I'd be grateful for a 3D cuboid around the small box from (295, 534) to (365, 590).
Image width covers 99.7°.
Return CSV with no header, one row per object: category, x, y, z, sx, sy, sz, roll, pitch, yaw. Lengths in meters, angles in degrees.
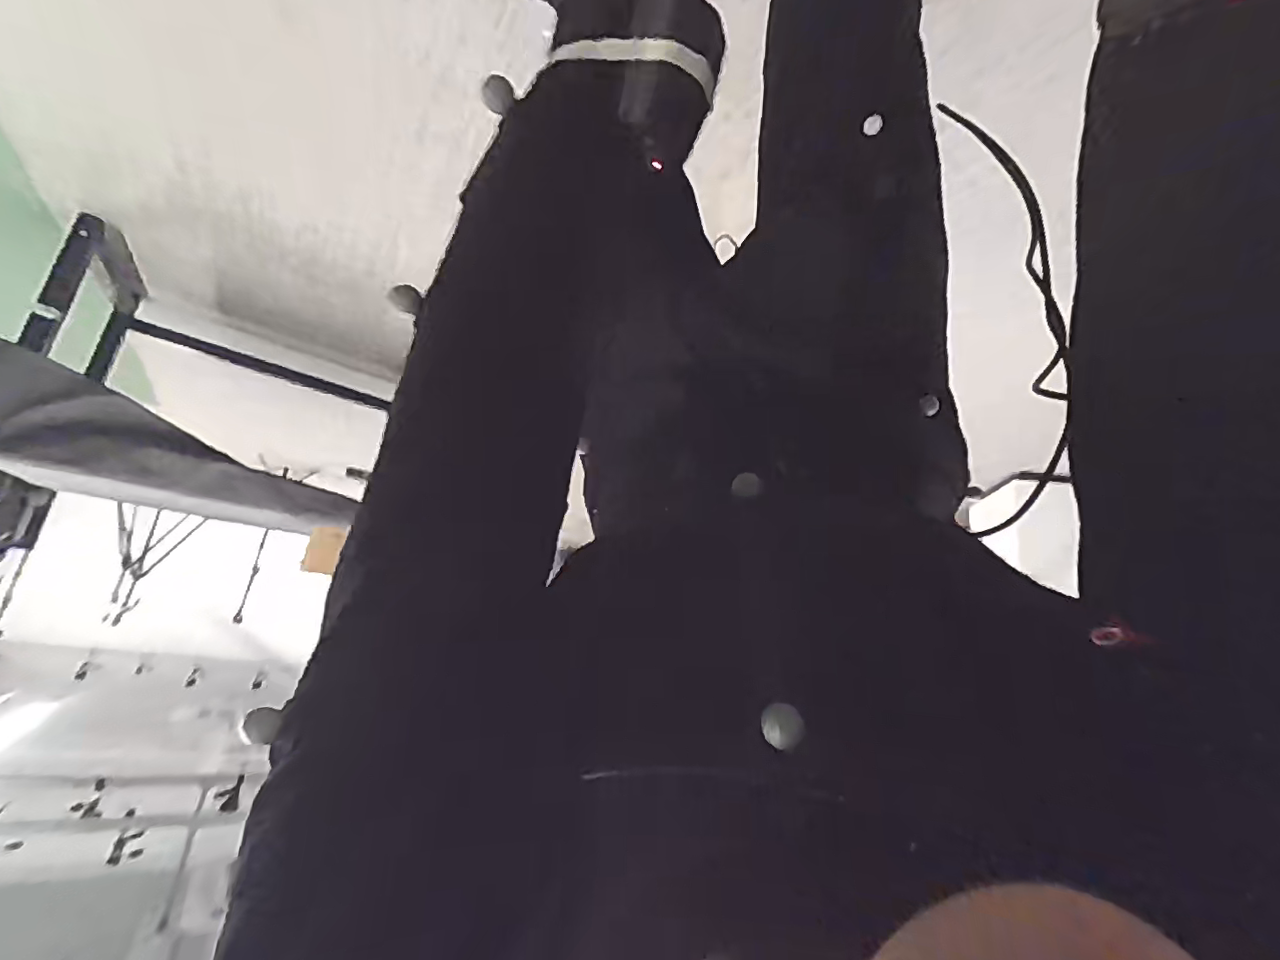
small box,-1.081,0.285,1.887,0.168,0.176,0.179,19,161,-34
